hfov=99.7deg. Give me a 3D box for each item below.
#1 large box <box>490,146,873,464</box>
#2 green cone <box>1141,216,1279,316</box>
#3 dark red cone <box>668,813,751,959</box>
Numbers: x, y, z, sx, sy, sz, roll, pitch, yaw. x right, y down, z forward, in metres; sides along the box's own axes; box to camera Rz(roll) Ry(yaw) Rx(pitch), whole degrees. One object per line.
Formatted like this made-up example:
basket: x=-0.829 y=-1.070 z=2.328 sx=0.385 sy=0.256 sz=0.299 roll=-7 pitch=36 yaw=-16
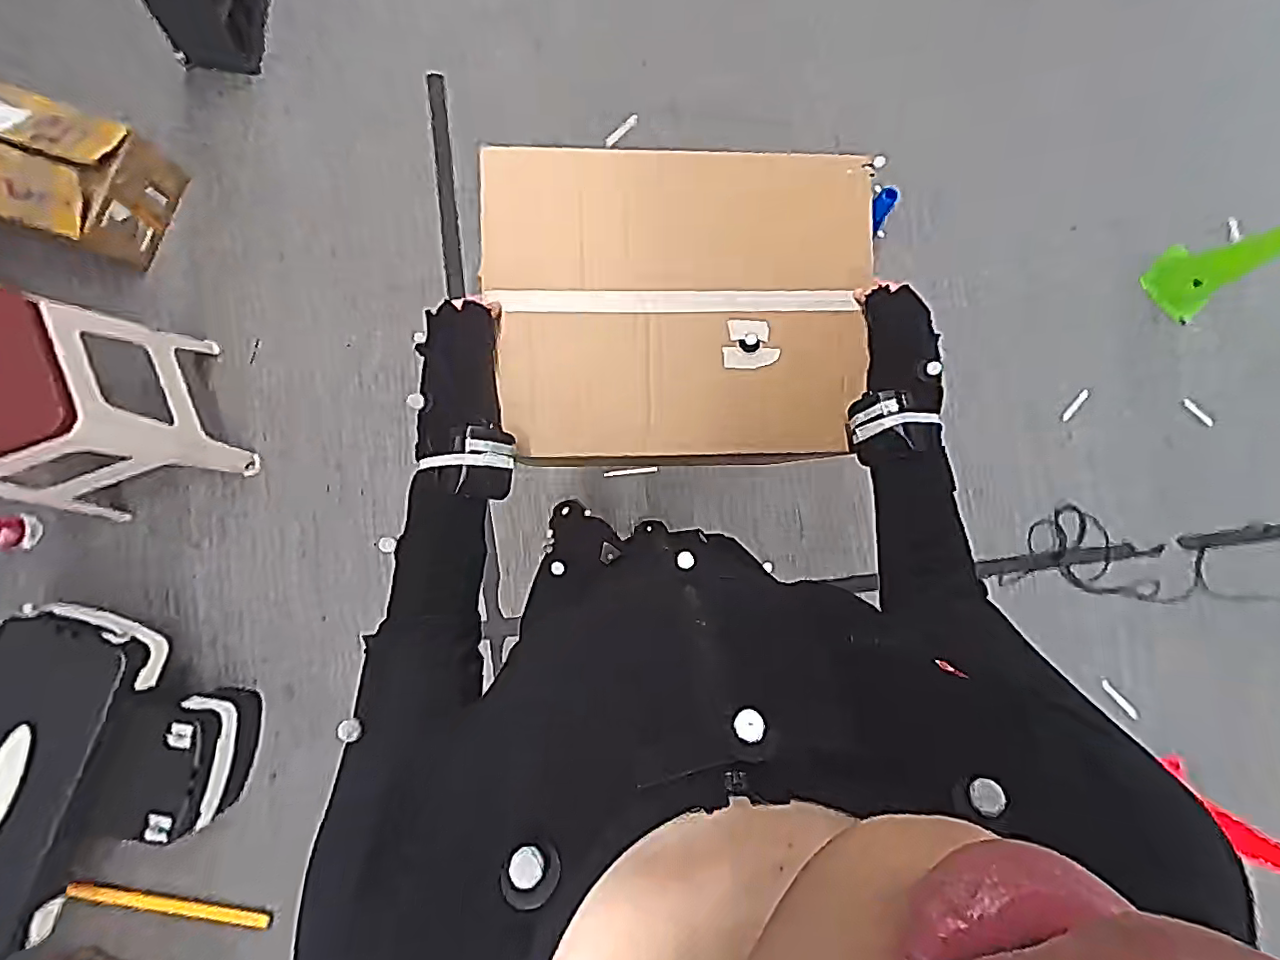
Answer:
large box: x=0.035 y=-0.186 z=0.707 sx=0.408 sy=0.320 sz=0.320 roll=0 pitch=90 yaw=-5
green cone: x=1.685 y=-0.649 z=1.503 sx=0.200 sy=0.368 sz=0.202 roll=-45 pitch=88 yaw=-7
dark red cone: x=0.184 y=0.950 z=1.231 sx=0.202 sy=0.394 sz=0.201 roll=-1 pitch=84 yaw=-4
